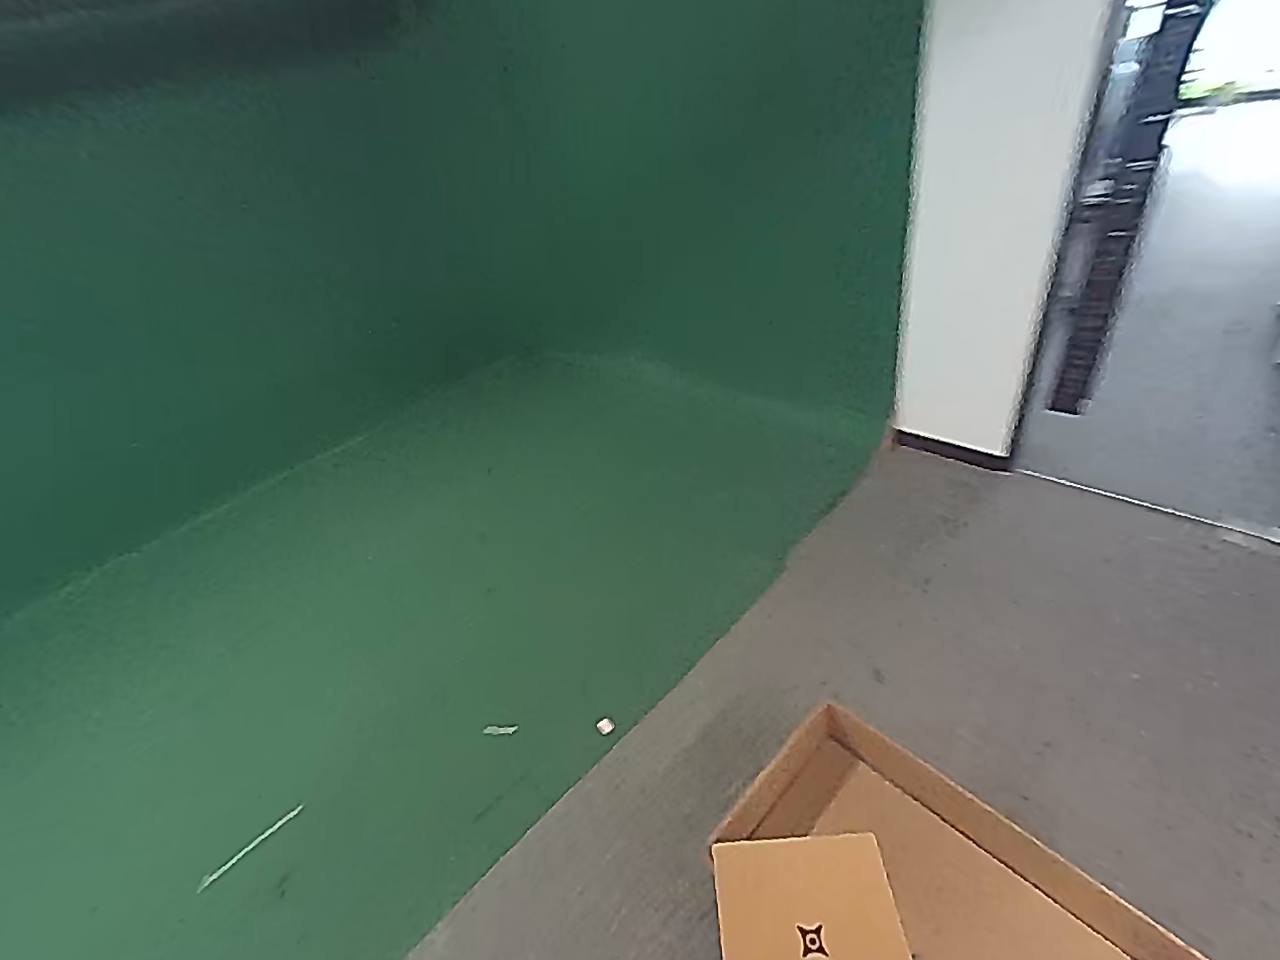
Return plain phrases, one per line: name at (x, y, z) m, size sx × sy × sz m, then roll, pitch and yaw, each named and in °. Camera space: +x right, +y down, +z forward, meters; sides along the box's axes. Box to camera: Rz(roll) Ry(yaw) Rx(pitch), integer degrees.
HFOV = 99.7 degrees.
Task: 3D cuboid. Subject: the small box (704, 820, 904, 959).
small box at (0.156, 0.470, 0.536) m, size 0.168 × 0.176 × 0.179 m, roll -8°, pitch 39°, yaw 4°
